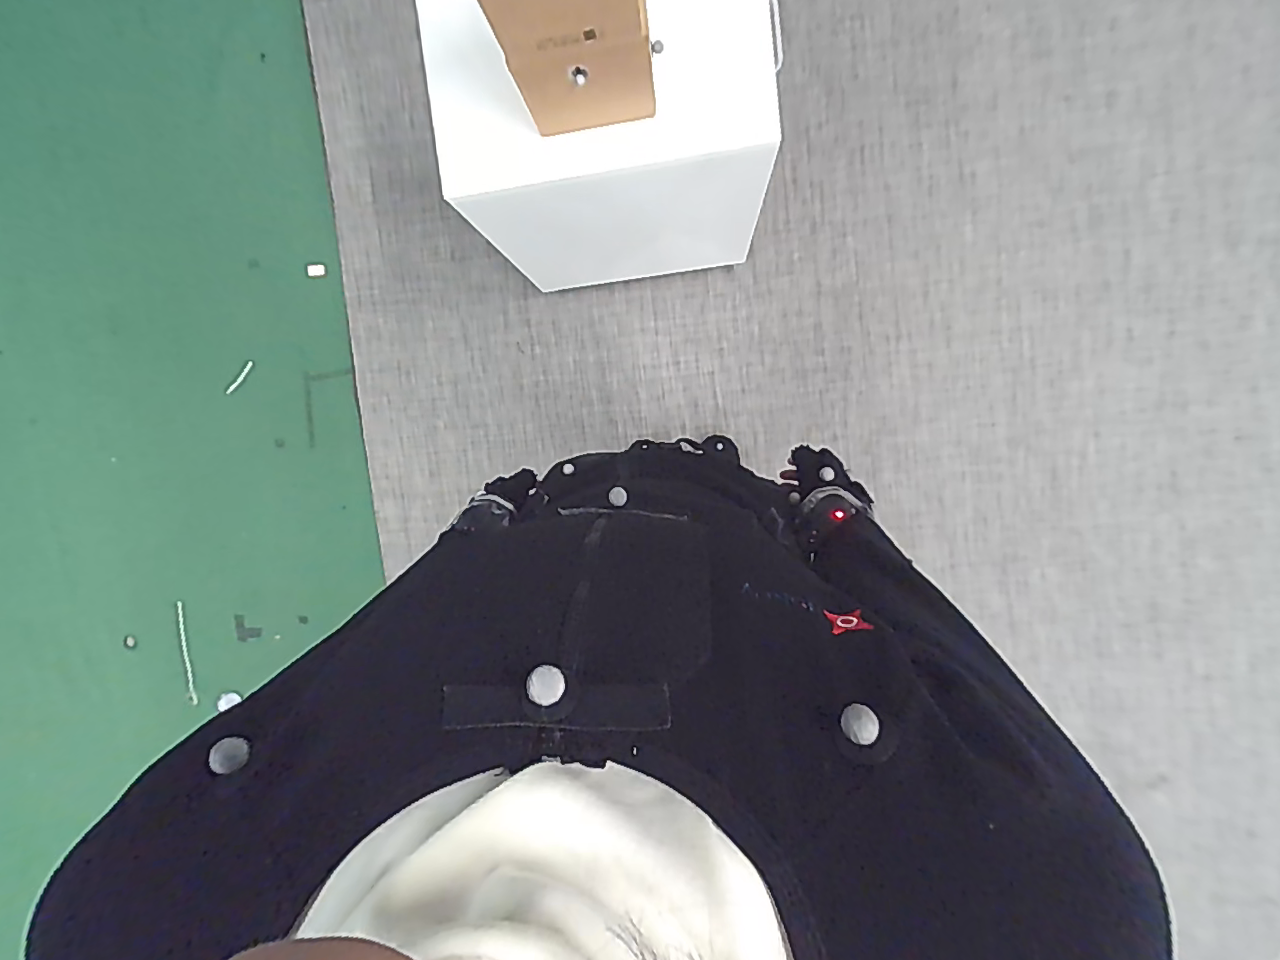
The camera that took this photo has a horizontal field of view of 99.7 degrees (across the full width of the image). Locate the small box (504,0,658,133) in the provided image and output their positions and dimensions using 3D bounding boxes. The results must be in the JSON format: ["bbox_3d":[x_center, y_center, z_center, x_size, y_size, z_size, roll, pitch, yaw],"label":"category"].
[{"bbox_3d":[-0.075,-0.594,0.714,0.179,0.176,0.168,-7,94,5],"label":"small box"}]

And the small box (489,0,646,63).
[{"bbox_3d":[-0.089,-0.584,0.553,0.168,0.176,0.179,-8,95,5],"label":"small box"}]
